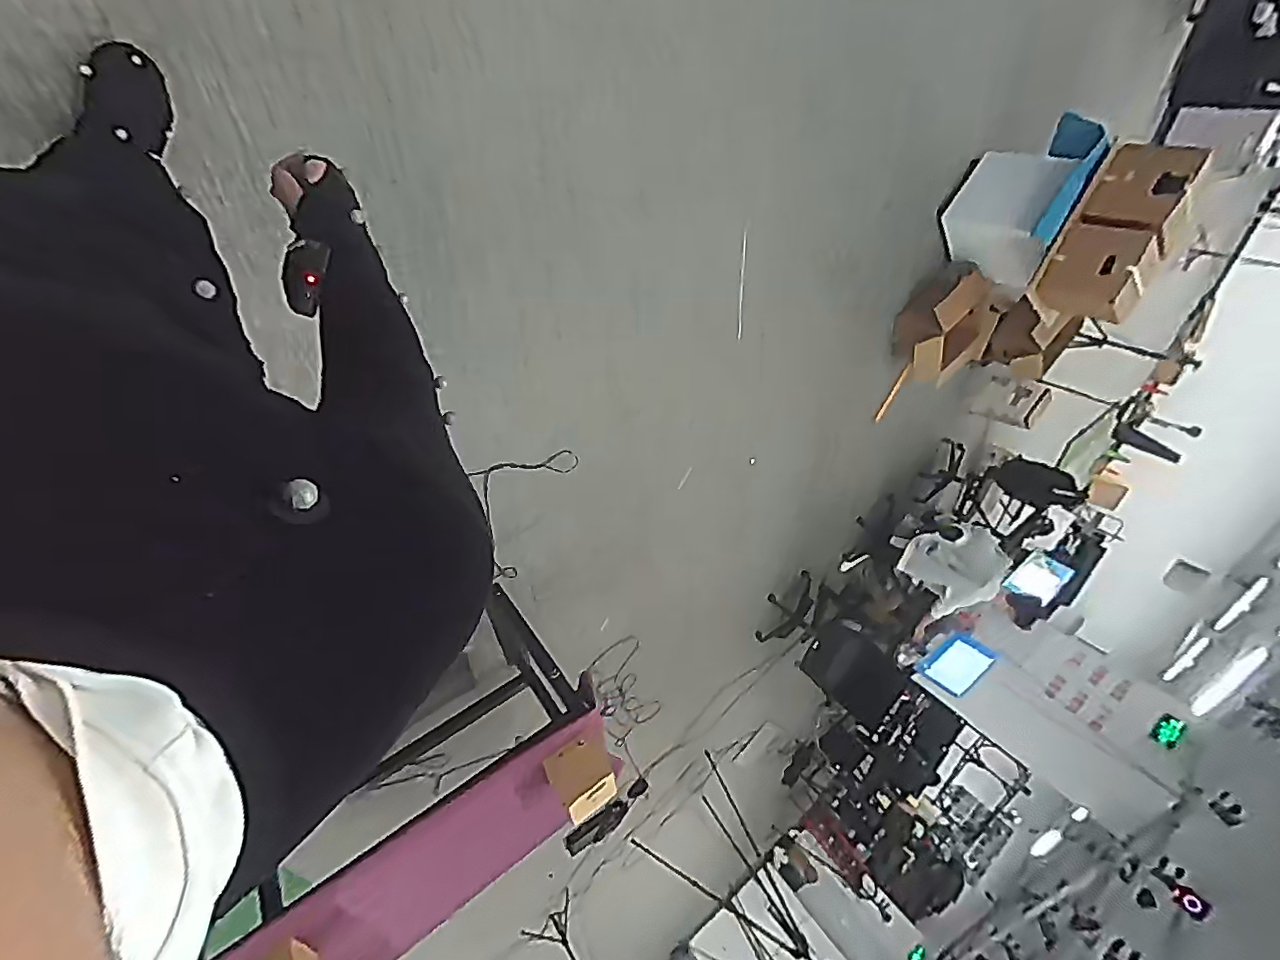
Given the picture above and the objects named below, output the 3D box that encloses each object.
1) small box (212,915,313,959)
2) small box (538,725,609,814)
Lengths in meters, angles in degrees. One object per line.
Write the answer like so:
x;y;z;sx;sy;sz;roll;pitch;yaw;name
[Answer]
-0.944;1.253;1.365;0.168;0.176;0.179;-26;134;-27;small box
-0.219;0.934;1.761;0.168;0.176;0.179;-25;136;-25;small box
